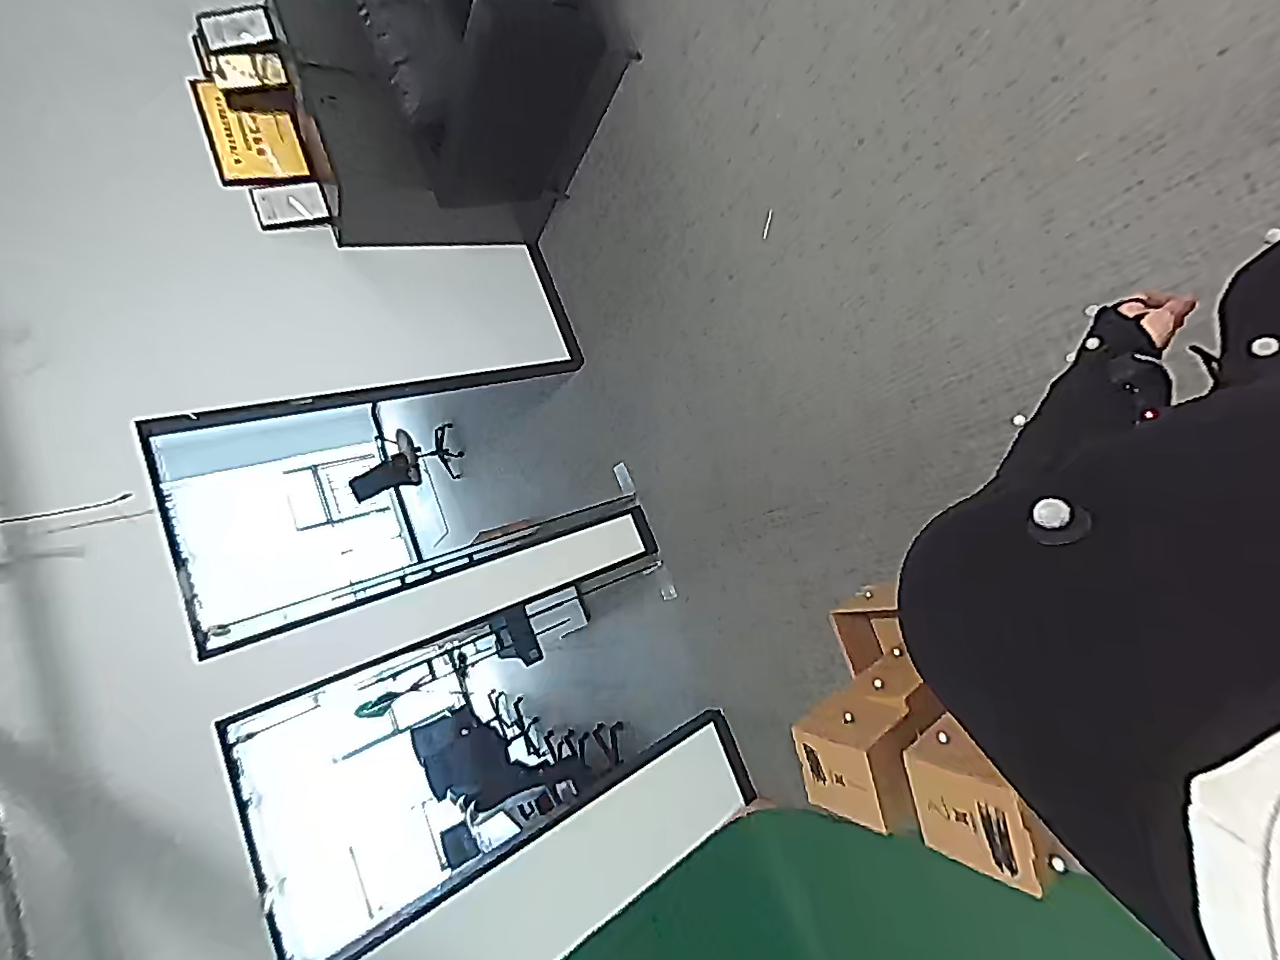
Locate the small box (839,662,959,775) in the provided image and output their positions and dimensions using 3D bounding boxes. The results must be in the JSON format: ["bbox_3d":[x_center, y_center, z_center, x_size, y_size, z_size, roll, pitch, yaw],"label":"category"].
[{"bbox_3d":[0.584,0.514,1.192,0.179,0.176,0.168,-28,80,54],"label":"small box"}]

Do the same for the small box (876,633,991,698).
[{"bbox_3d":[0.710,0.474,1.286,0.179,0.176,0.168,-28,81,54],"label":"small box"}]

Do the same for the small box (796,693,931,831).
[{"bbox_3d":[0.454,0.558,1.101,0.179,0.176,0.168,-12,94,54],"label":"small box"}]
